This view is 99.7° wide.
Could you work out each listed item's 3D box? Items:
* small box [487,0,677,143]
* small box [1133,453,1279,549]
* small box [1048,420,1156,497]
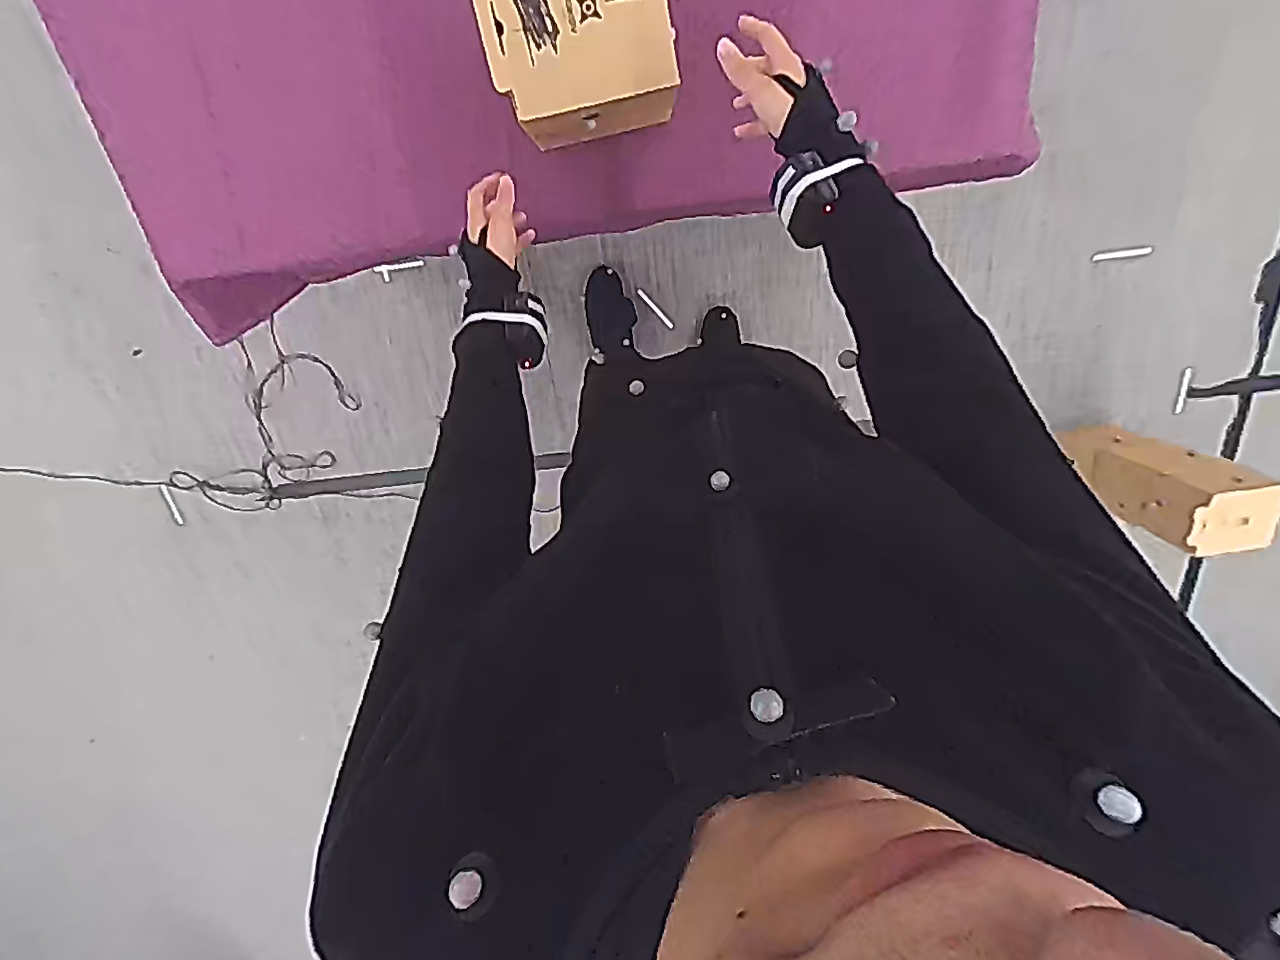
[{"bbox_3d":[-0.062,-0.499,0.603,0.179,0.176,0.168,-12,113,3],"label":"small box"},{"bbox_3d":[1.356,0.044,1.296,0.179,0.176,0.168,-8,114,3],"label":"small box"},{"bbox_3d":[1.361,-0.068,1.608,0.179,0.176,0.168,-11,113,3],"label":"small box"}]
